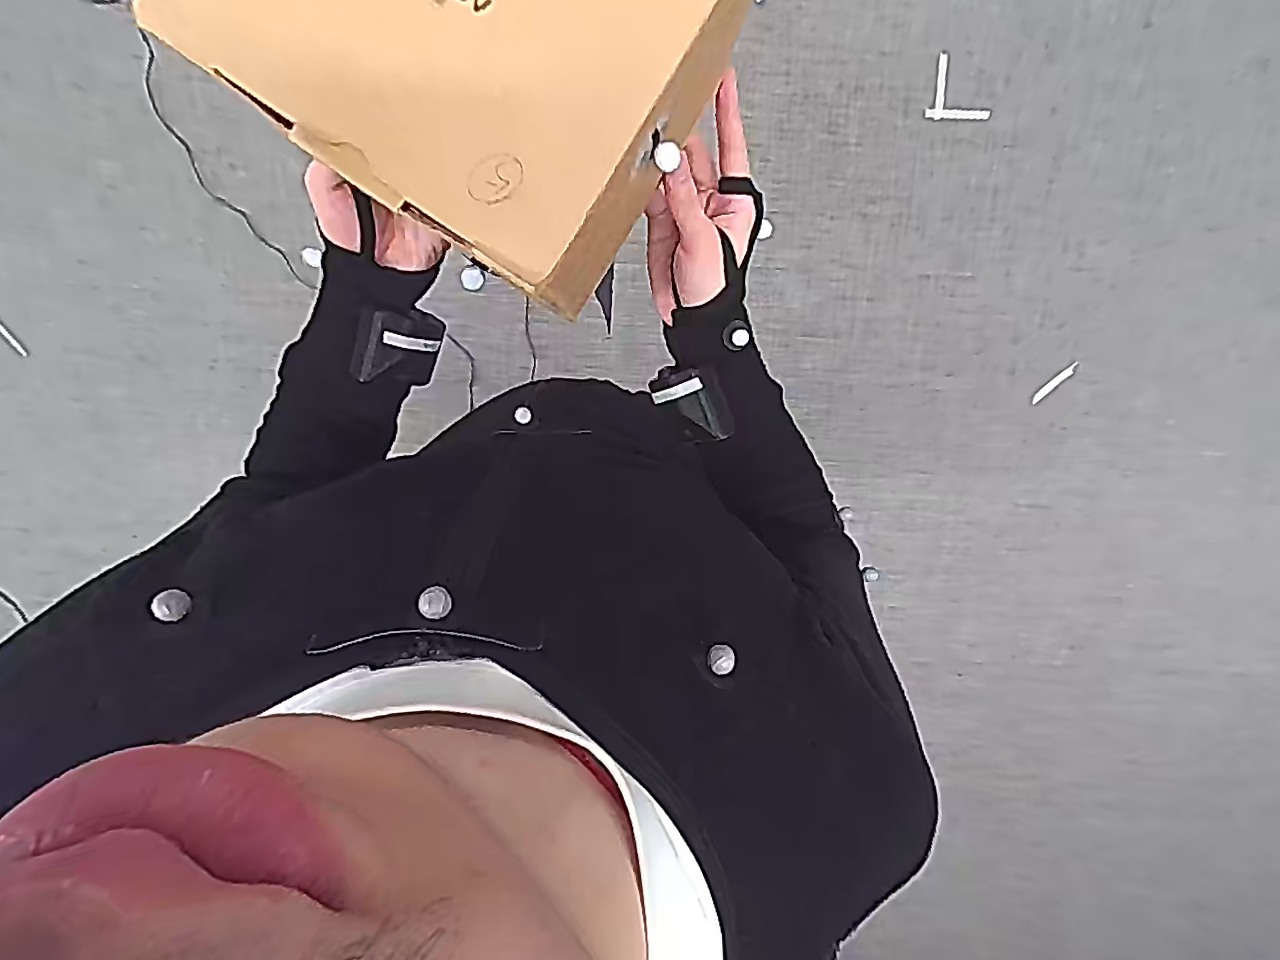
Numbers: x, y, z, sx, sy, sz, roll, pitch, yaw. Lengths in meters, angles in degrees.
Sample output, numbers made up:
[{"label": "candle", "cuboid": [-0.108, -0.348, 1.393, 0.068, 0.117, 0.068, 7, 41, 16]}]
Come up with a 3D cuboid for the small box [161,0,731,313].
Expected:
[{"label": "small box", "cuboid": [-0.066, -0.205, 0.274, 0.168, 0.176, 0.179, 32, 98, -9]}]
